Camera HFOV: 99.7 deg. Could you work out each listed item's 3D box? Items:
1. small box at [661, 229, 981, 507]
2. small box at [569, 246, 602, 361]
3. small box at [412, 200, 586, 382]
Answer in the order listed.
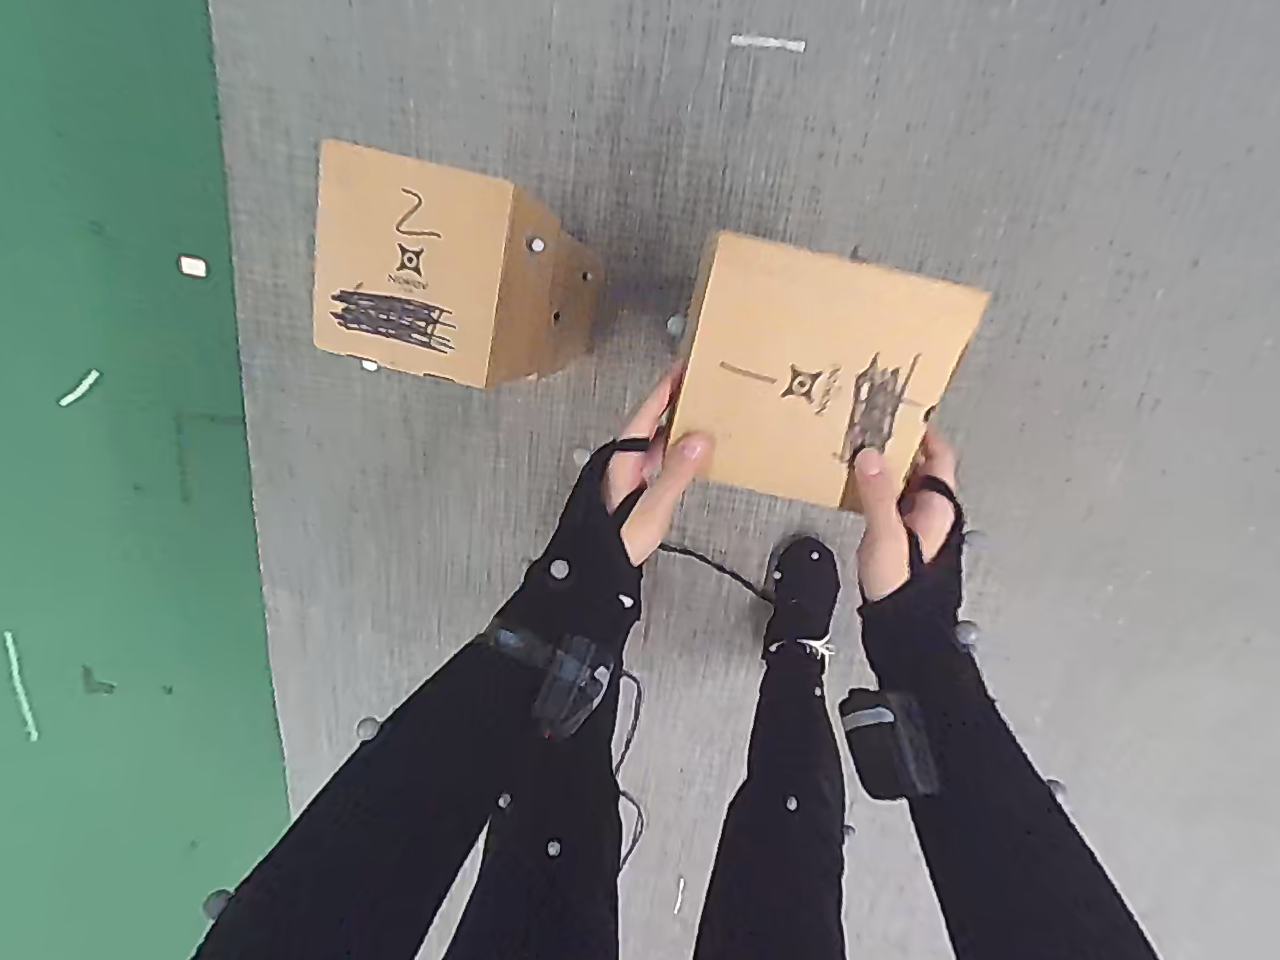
[{"bbox_3d":[0.122,-0.101,0.445,0.179,0.176,0.168,13,114,-1],"label":"small box"},{"bbox_3d":[-0.164,-0.289,0.868,0.168,0.176,0.179,12,107,2],"label":"small box"},{"bbox_3d":[-0.175,-0.241,0.711,0.168,0.176,0.179,13,107,1],"label":"small box"}]
